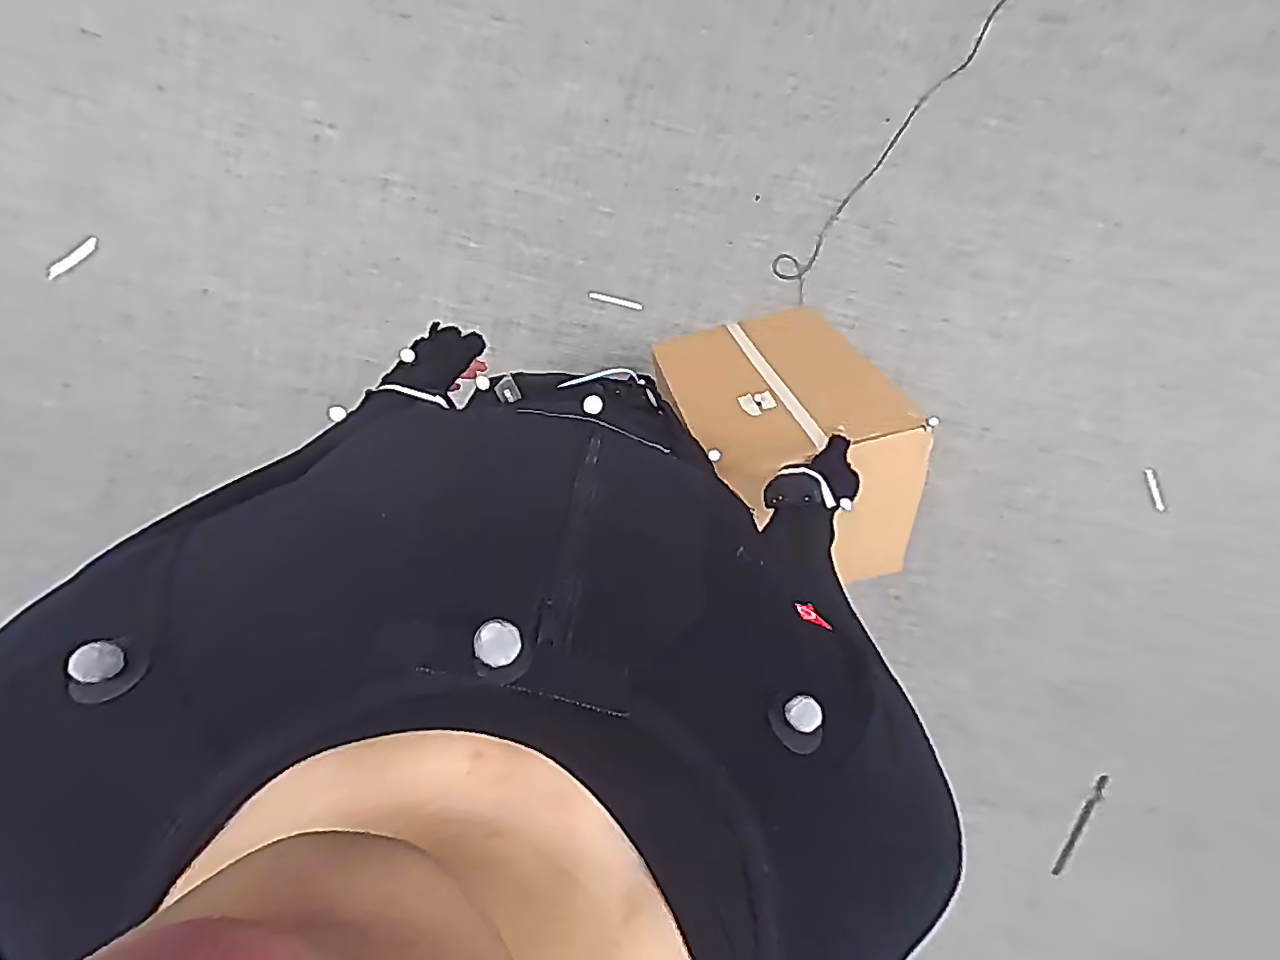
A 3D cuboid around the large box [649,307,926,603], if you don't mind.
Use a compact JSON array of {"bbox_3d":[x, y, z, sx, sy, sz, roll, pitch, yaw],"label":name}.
[{"bbox_3d":[0.228,-0.057,0.976,0.320,0.408,0.320,-16,133,-1],"label":"large box"}]
